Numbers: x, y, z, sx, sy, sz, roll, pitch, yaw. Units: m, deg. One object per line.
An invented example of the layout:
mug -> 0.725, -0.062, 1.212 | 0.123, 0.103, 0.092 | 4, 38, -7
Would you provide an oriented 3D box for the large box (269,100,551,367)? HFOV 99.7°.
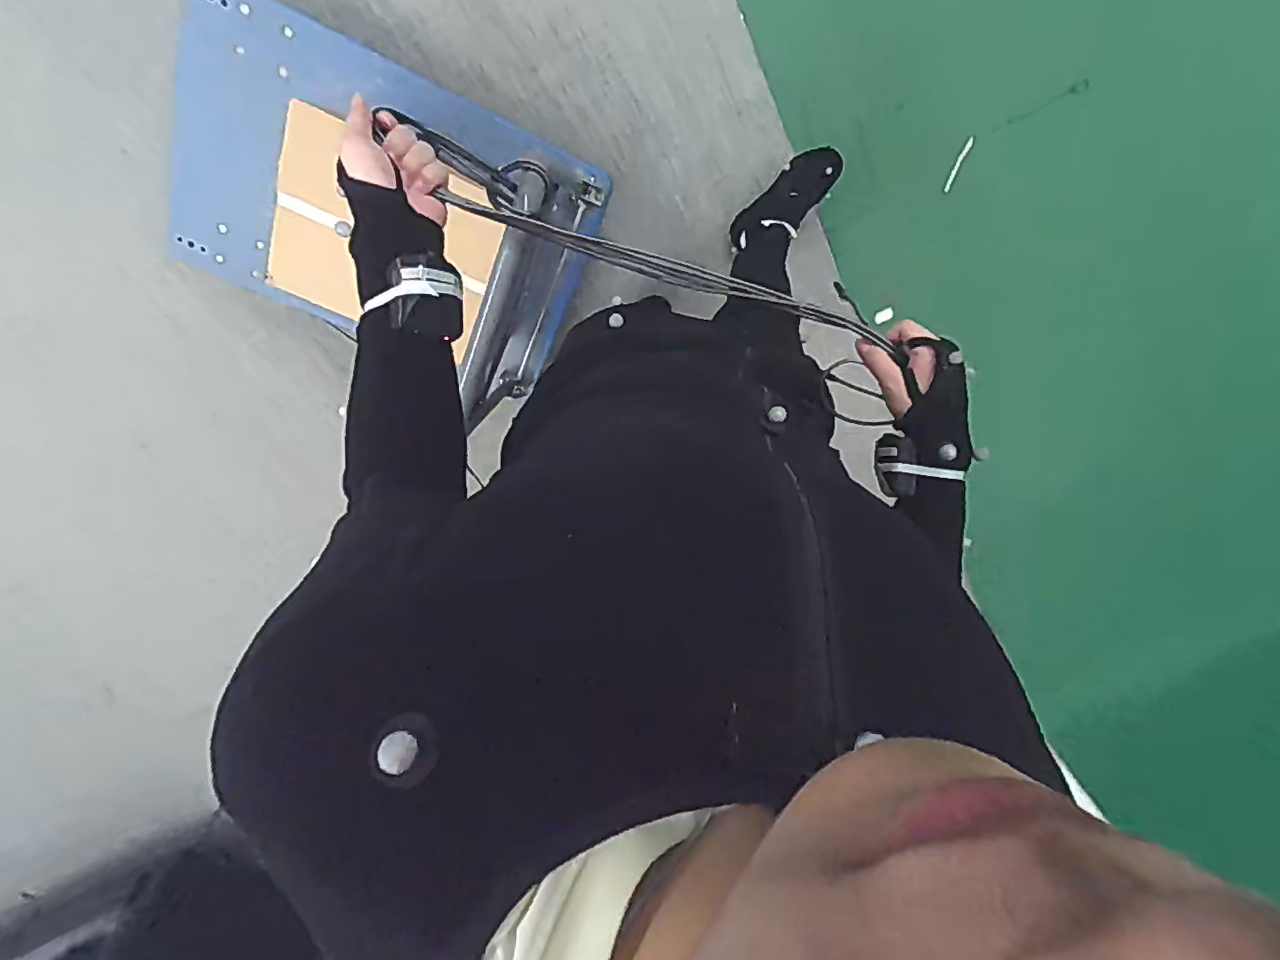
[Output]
large box -> -0.433, -0.480, 1.088 | 0.408, 0.320, 0.320 | 23, 114, -11
